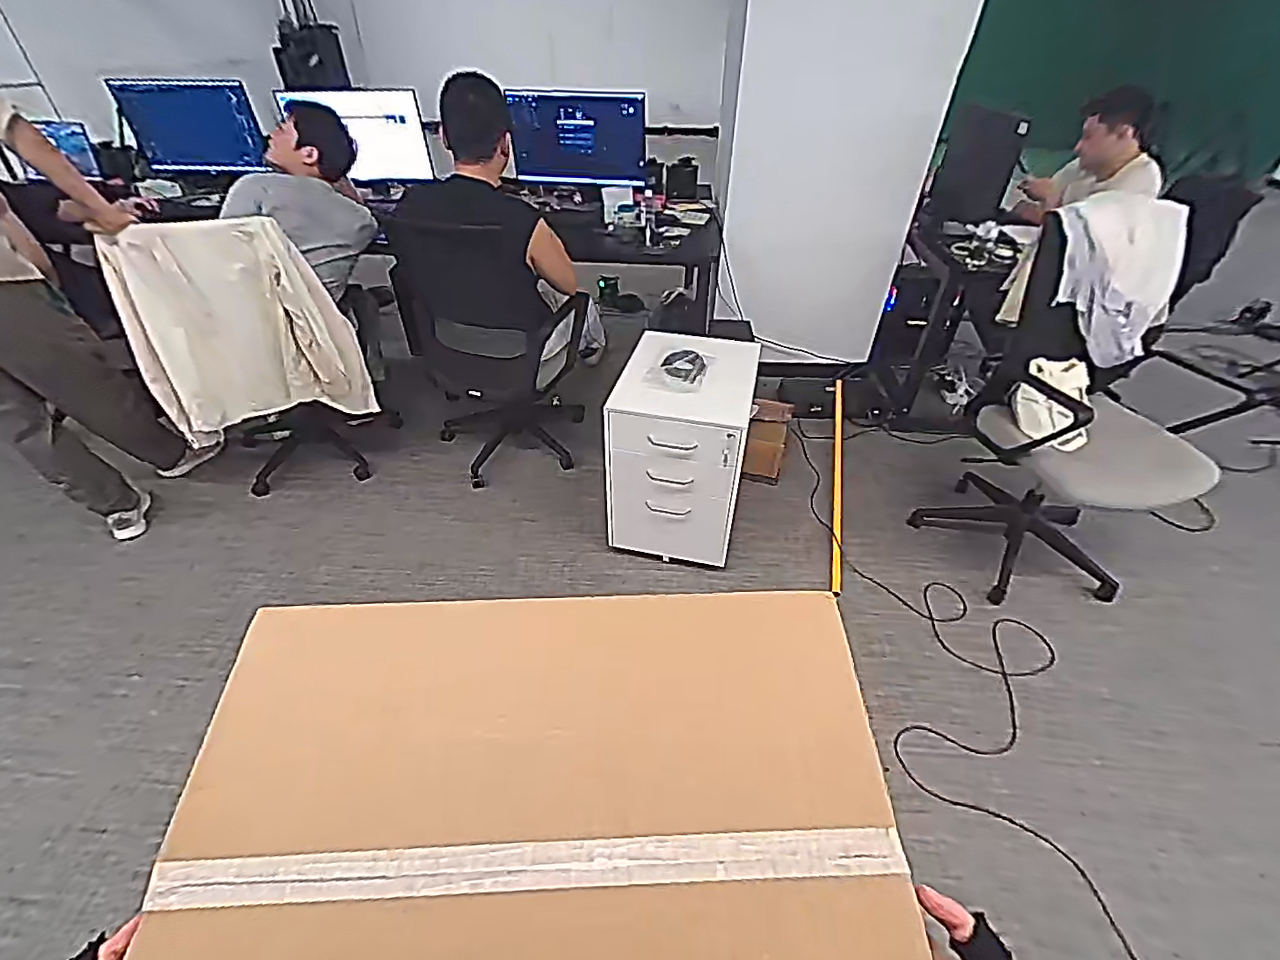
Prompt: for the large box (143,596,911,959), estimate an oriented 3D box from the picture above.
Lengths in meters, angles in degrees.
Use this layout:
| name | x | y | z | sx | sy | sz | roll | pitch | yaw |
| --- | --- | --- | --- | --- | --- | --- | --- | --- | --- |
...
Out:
| name | x | y | z | sx | sy | sz | roll | pitch | yaw |
| --- | --- | --- | --- | --- | --- | --- | --- | --- | --- |
| large box | -0.060 | 0.304 | 0.423 | 0.408 | 0.320 | 0.320 | -1 | 55 | -1 |
